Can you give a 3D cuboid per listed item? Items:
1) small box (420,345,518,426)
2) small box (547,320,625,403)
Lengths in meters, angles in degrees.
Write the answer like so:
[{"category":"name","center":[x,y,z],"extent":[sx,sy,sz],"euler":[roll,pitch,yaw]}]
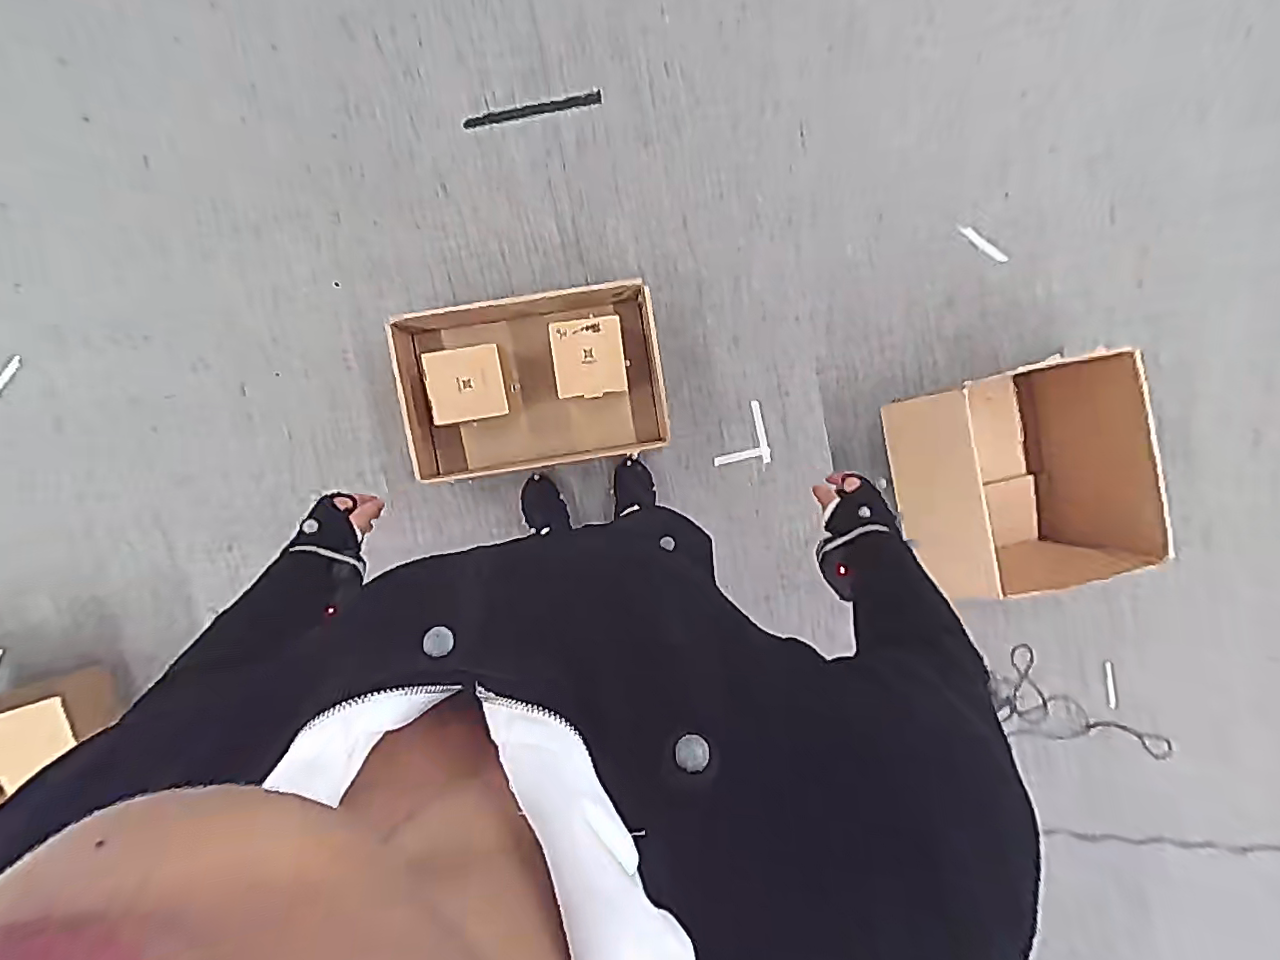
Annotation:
[{"category":"small box","center":[-0.410,-0.225,1.322],"extent":[0.179,0.176,0.168],"euler":[-10,97,-4]},{"category":"small box","center":[-0.126,-0.285,1.329],"extent":[0.168,0.176,0.179],"euler":[-7,96,-1]}]
